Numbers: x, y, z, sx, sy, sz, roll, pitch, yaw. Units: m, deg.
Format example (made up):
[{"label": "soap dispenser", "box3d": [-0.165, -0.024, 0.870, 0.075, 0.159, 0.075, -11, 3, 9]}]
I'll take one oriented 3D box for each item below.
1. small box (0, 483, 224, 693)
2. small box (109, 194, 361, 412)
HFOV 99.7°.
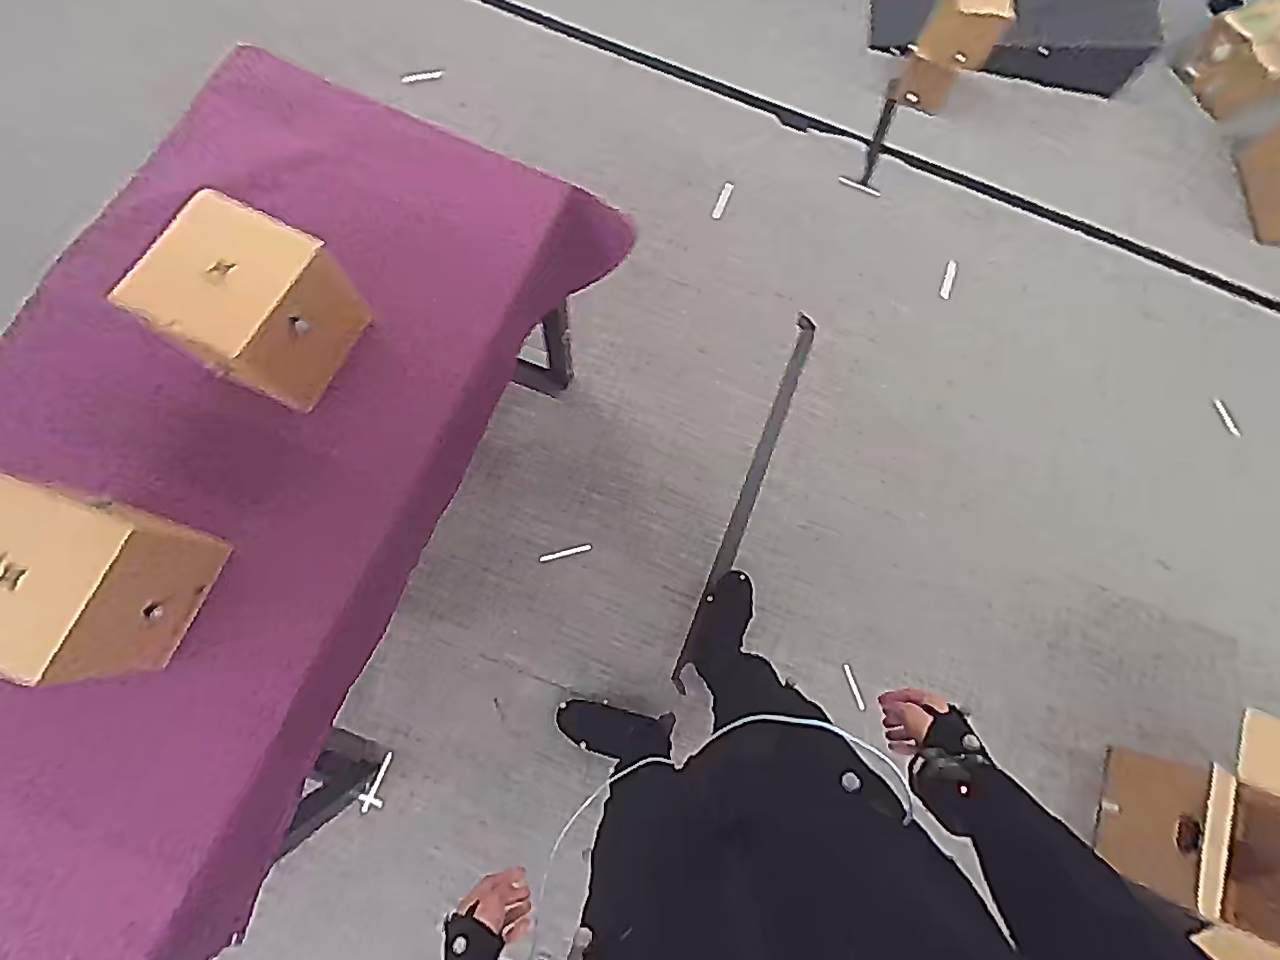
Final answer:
[{"label": "small box", "box3d": [-0.632, 0.118, 0.609, 0.179, 0.176, 0.168, 20, 75, 0]}, {"label": "small box", "box3d": [-0.500, -0.218, 0.707, 0.168, 0.176, 0.179, 25, 76, 1]}]
